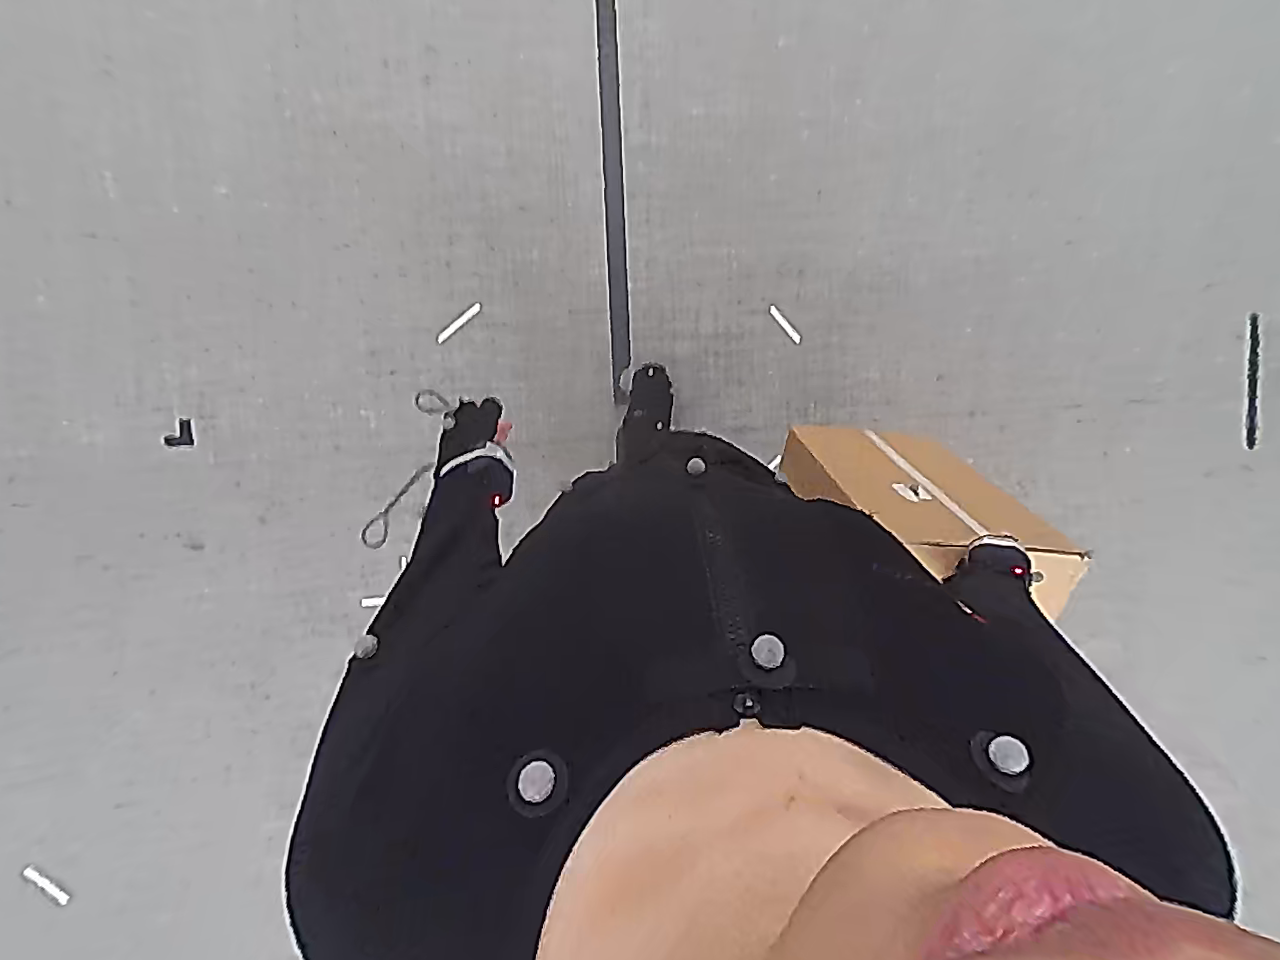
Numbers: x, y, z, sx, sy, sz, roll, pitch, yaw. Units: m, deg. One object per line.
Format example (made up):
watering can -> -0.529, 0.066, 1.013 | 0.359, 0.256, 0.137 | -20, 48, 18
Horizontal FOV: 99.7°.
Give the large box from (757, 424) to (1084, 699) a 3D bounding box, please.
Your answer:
large box -> 0.445, 0.128, 0.988 | 0.320, 0.408, 0.320 | 5, 118, -7
